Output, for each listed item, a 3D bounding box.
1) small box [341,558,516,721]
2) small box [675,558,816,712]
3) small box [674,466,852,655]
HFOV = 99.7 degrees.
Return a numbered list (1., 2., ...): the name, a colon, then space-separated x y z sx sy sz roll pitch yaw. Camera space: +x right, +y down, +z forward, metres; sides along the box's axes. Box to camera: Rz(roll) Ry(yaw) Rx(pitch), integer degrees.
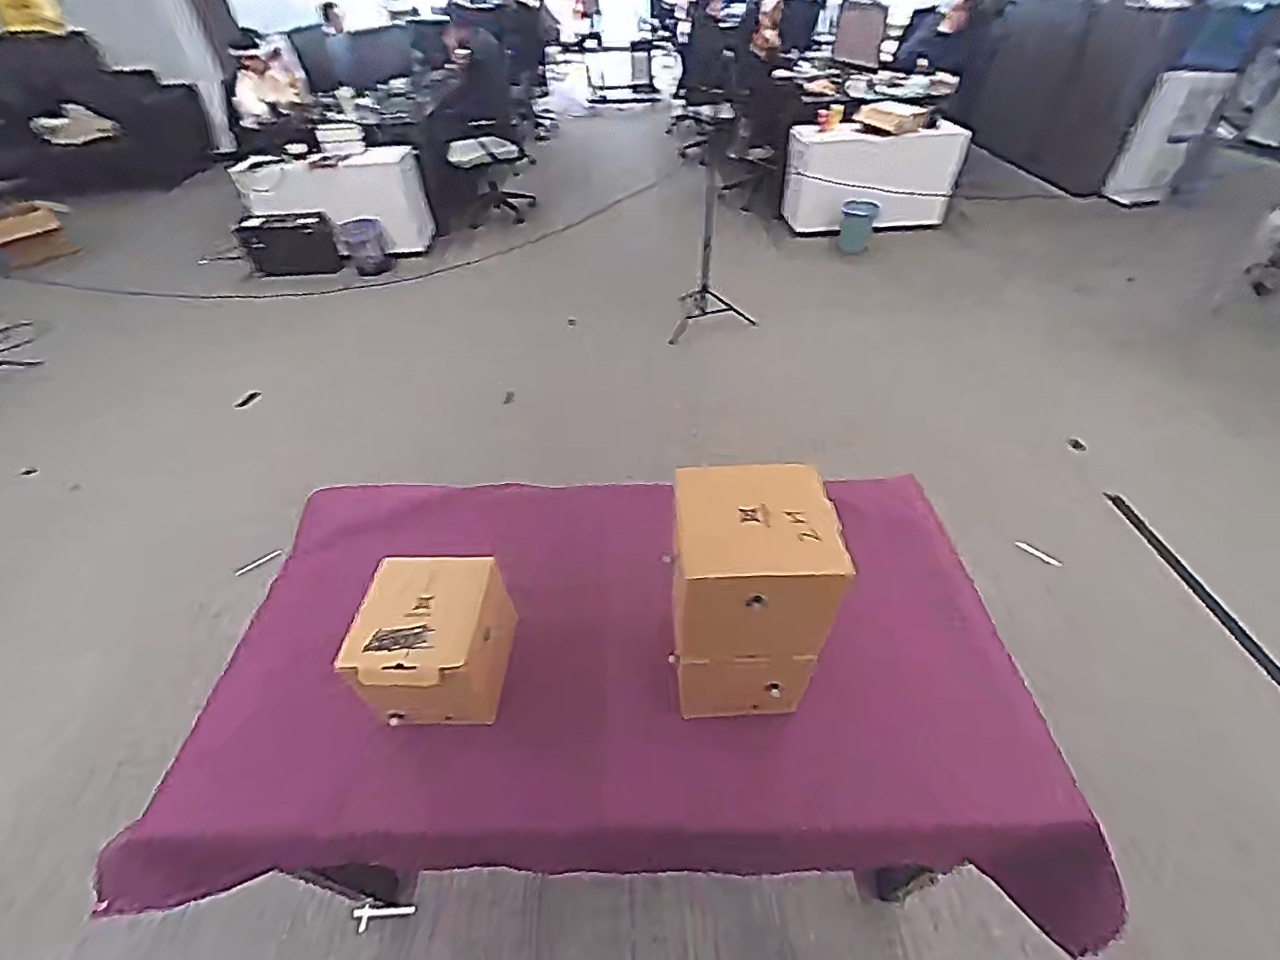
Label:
1. small box: -0.286 0.232 0.781 0.168 0.176 0.179 0 44 2
2. small box: 0.137 0.218 0.775 0.168 0.176 0.179 -2 44 0
3. small box: 0.133 0.101 0.660 0.179 0.176 0.168 -1 45 1
